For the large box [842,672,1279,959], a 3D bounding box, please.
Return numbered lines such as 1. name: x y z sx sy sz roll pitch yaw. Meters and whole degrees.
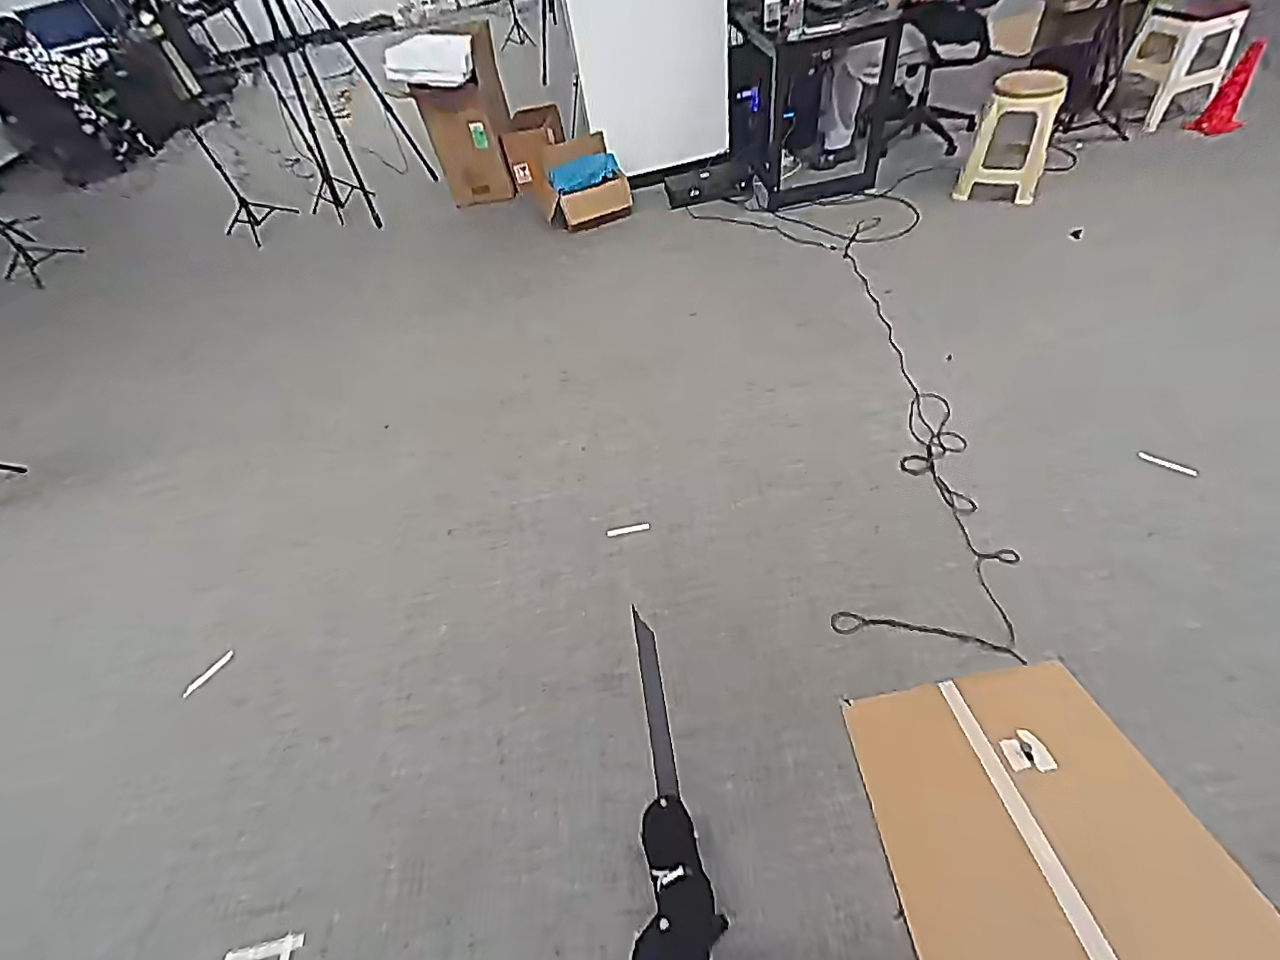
1. large box: 0.497 0.531 0.693 0.320 0.320 0.408 -16 19 12
